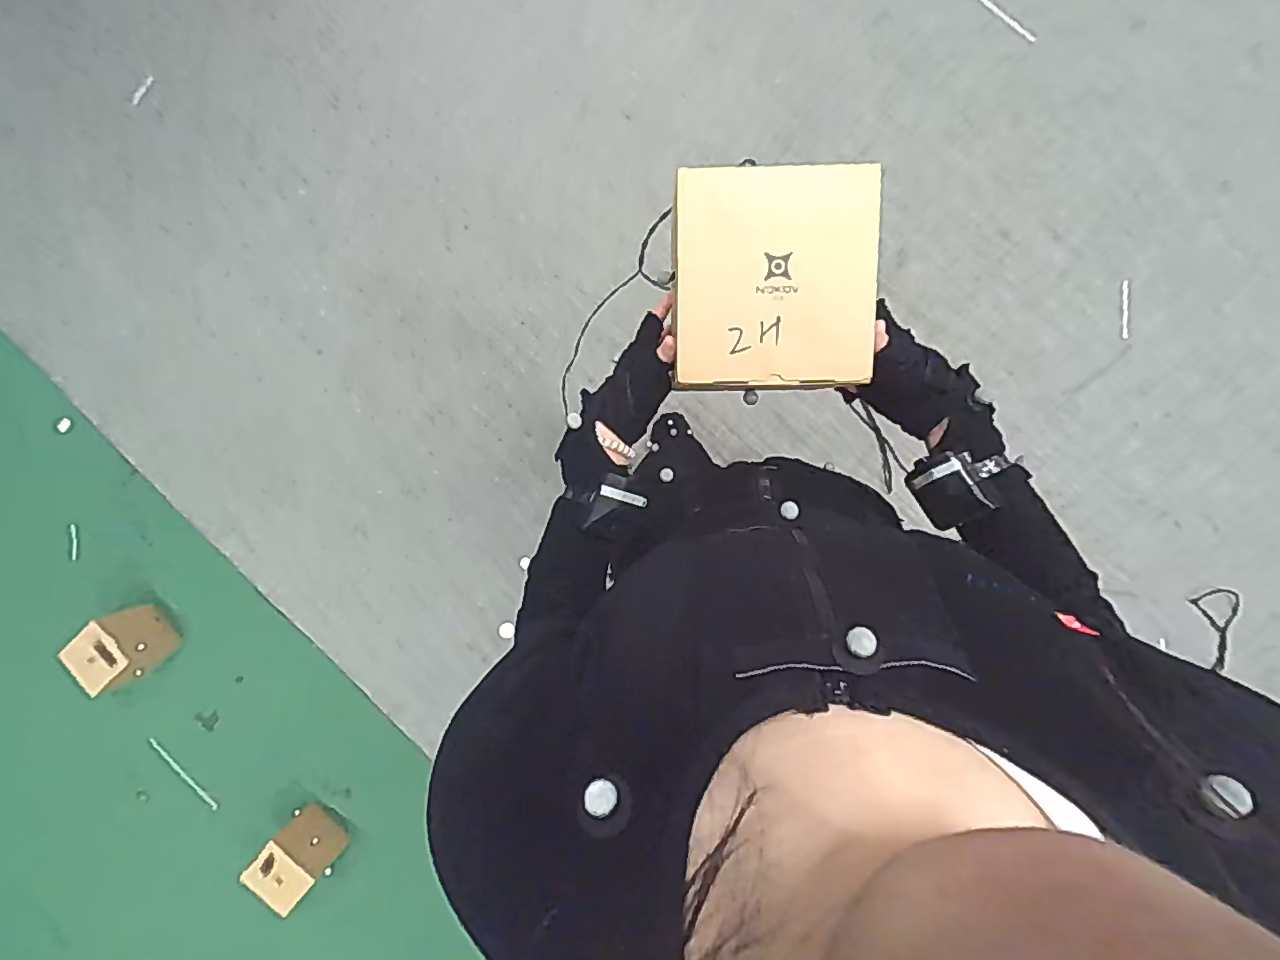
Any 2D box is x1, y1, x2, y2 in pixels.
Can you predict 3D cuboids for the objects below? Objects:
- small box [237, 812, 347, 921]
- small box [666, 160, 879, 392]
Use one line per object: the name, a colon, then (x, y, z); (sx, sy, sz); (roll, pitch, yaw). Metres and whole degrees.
small box: (-1.023, 1.130, 1.603); (0.179, 0.176, 0.168); (41, 97, 1)
small box: (0.111, -0.178, 0.520); (0.168, 0.176, 0.179); (0, 98, 2)
